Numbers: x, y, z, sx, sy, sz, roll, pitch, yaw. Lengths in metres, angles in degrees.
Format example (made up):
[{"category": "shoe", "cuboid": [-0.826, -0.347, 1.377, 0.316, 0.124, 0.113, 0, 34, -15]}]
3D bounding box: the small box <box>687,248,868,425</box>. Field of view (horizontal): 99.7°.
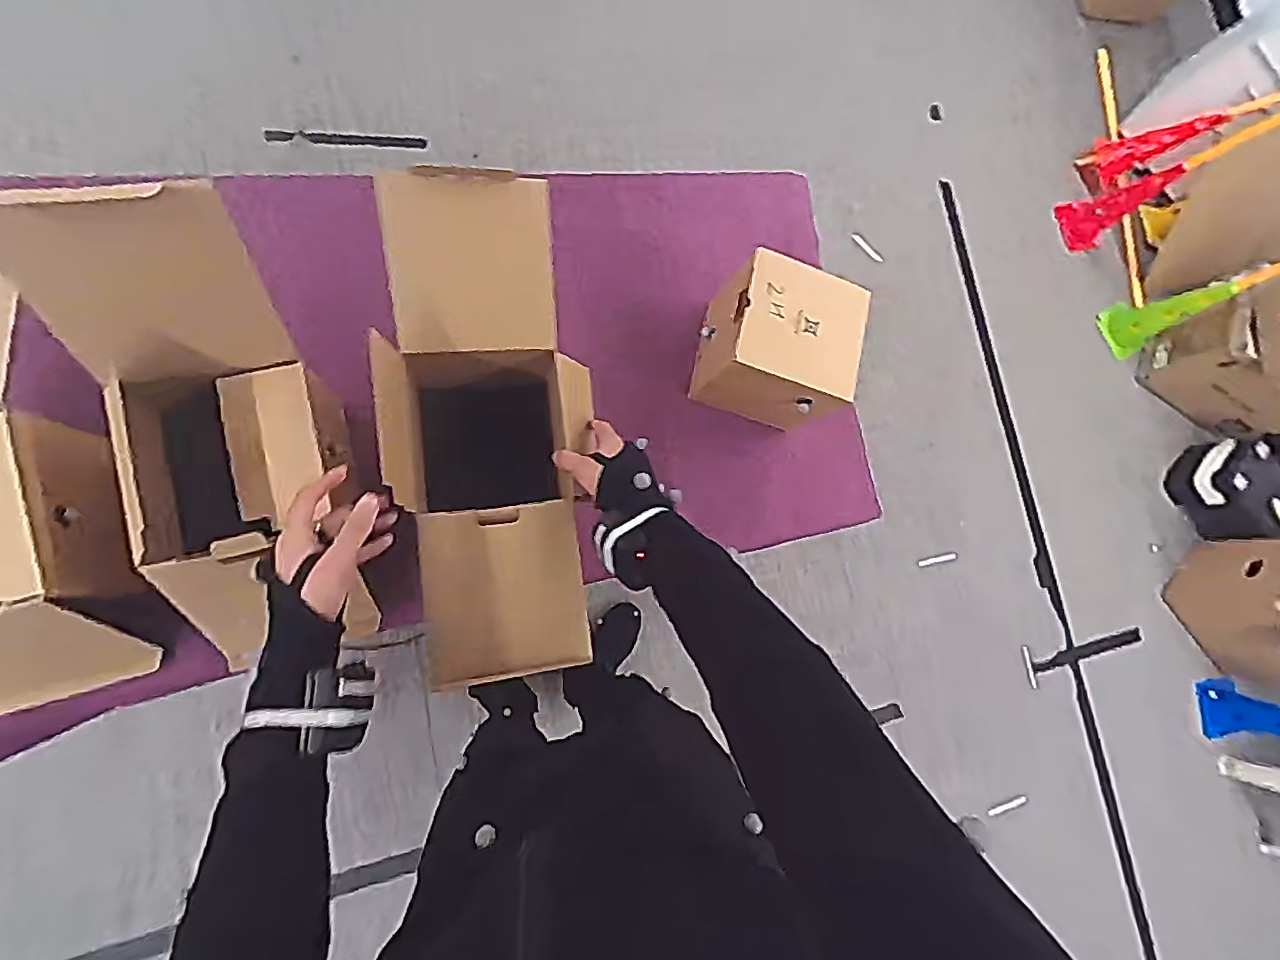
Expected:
[{"category": "small box", "cuboid": [0.189, -0.189, 0.776, 0.179, 0.176, 0.168, 17, 78, -12]}]
